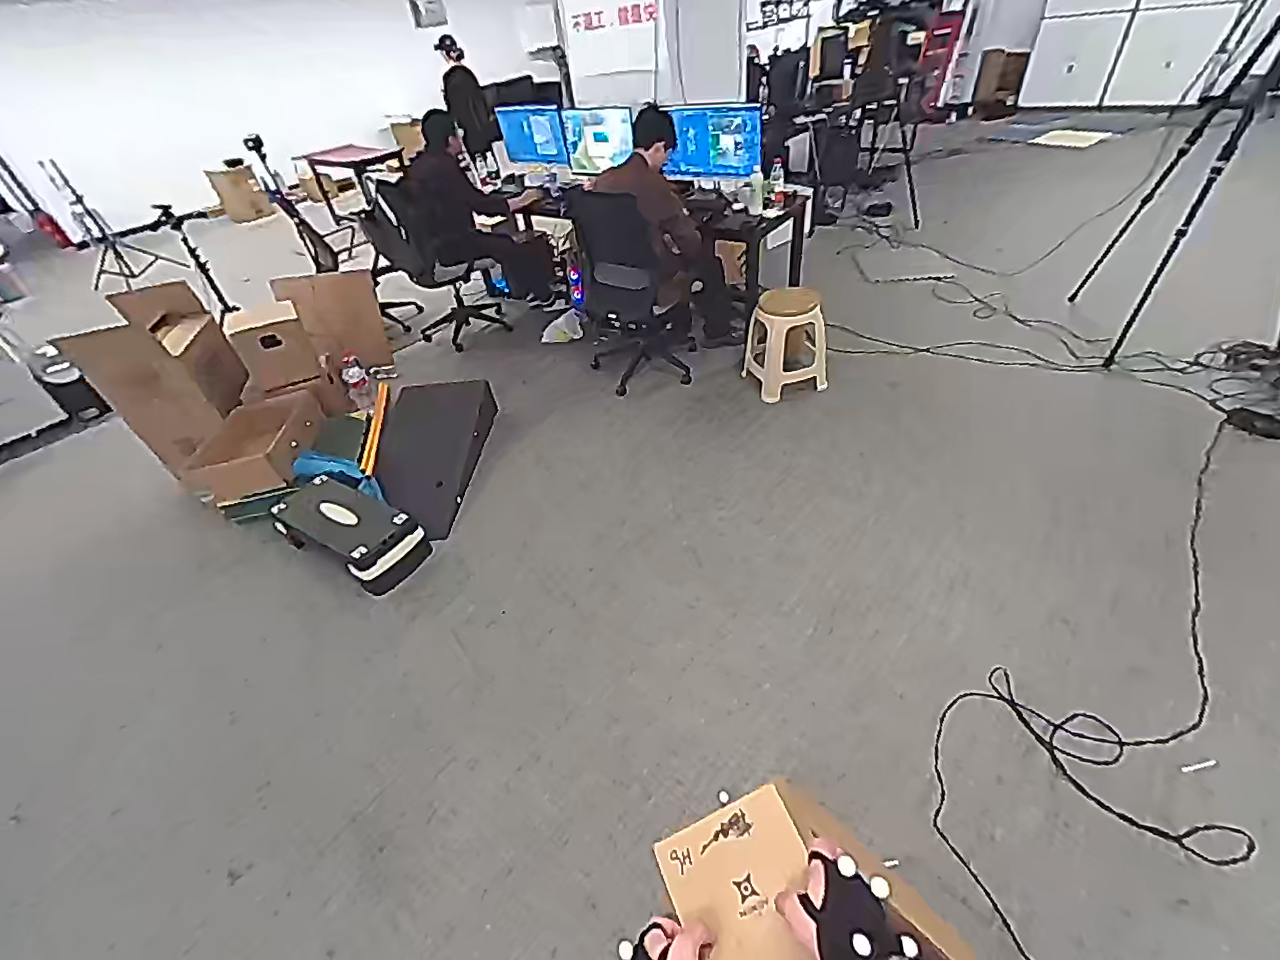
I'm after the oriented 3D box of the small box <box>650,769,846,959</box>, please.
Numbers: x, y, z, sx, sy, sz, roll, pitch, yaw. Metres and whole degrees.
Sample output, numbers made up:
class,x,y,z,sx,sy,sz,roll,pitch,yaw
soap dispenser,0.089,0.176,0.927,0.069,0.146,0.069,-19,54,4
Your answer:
class,x,y,z,sx,sy,sz,roll,pitch,yaw
small box,0.141,0.492,0.684,0.168,0.176,0.179,-31,59,4
